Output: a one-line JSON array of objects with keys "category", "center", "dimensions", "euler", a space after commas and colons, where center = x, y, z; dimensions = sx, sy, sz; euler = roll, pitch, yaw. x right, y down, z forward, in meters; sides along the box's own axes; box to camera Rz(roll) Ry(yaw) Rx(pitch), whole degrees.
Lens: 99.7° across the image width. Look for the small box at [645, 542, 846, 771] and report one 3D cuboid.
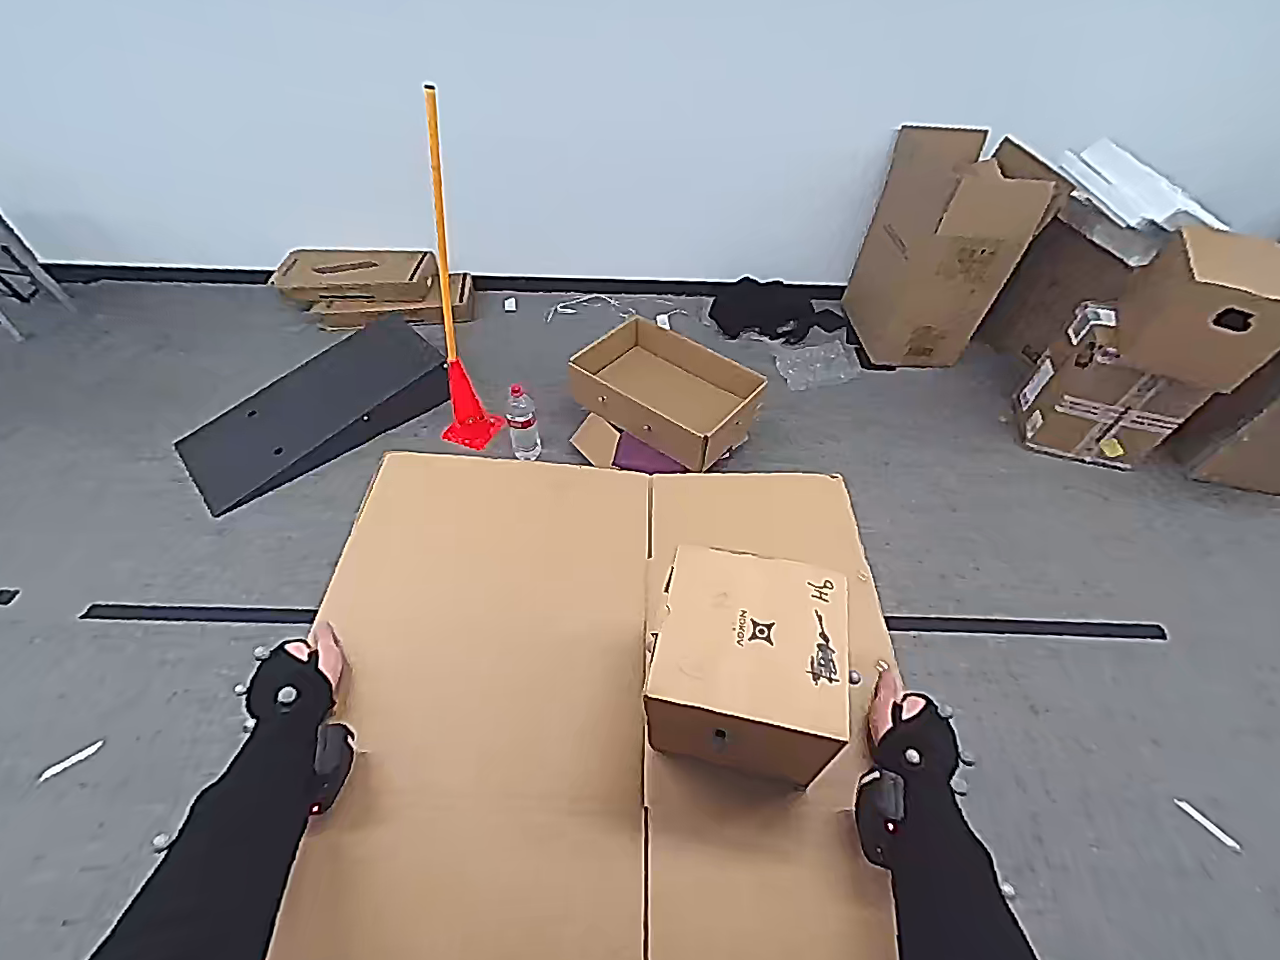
[{"category": "small box", "center": [0.112, 0.190, 0.577], "dimensions": [0.179, 0.176, 0.168], "euler": [8, 51, 11]}]
